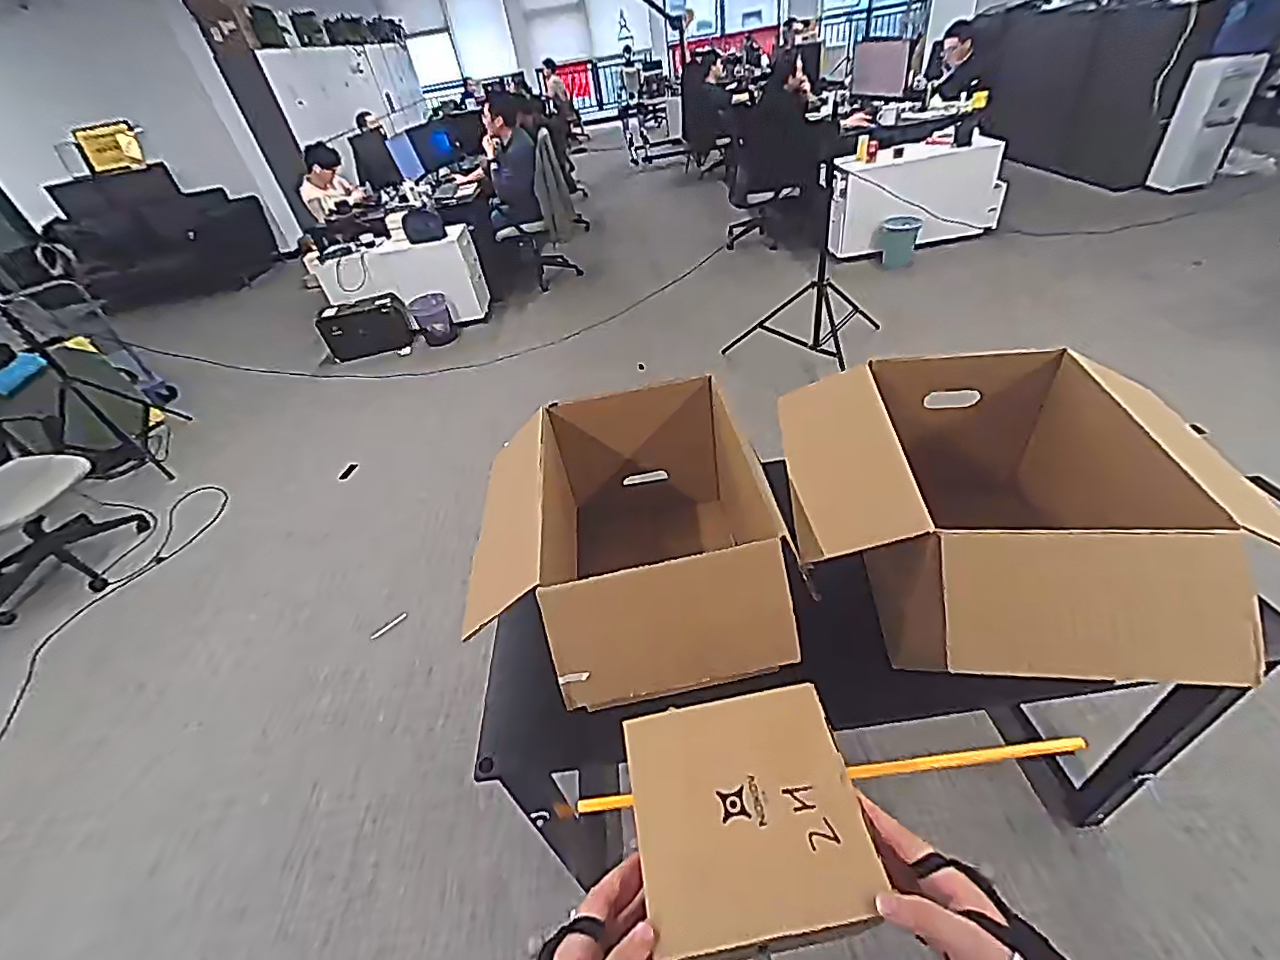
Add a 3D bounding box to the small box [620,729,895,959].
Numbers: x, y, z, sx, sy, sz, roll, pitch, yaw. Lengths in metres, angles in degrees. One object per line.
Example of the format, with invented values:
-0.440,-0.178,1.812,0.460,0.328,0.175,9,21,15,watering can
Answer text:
0.088,0.343,0.469,0.179,0.176,0.168,-10,46,-1,small box
